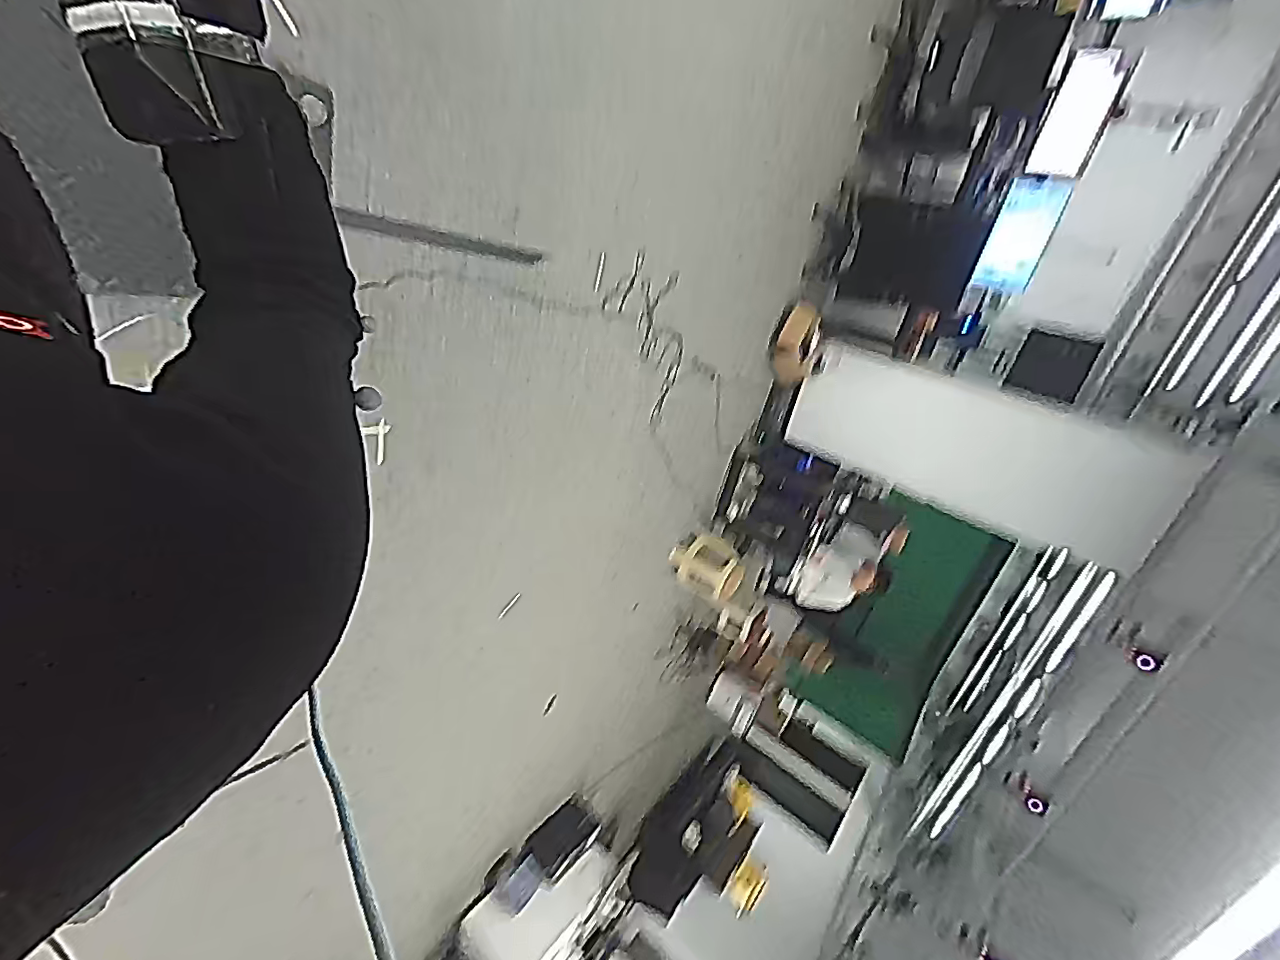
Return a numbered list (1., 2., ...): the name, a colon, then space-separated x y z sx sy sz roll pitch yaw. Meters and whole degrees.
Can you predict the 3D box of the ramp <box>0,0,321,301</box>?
1. ramp: -1.015 -0.571 0.909 0.991 0.206 0.509 -19 128 -51
